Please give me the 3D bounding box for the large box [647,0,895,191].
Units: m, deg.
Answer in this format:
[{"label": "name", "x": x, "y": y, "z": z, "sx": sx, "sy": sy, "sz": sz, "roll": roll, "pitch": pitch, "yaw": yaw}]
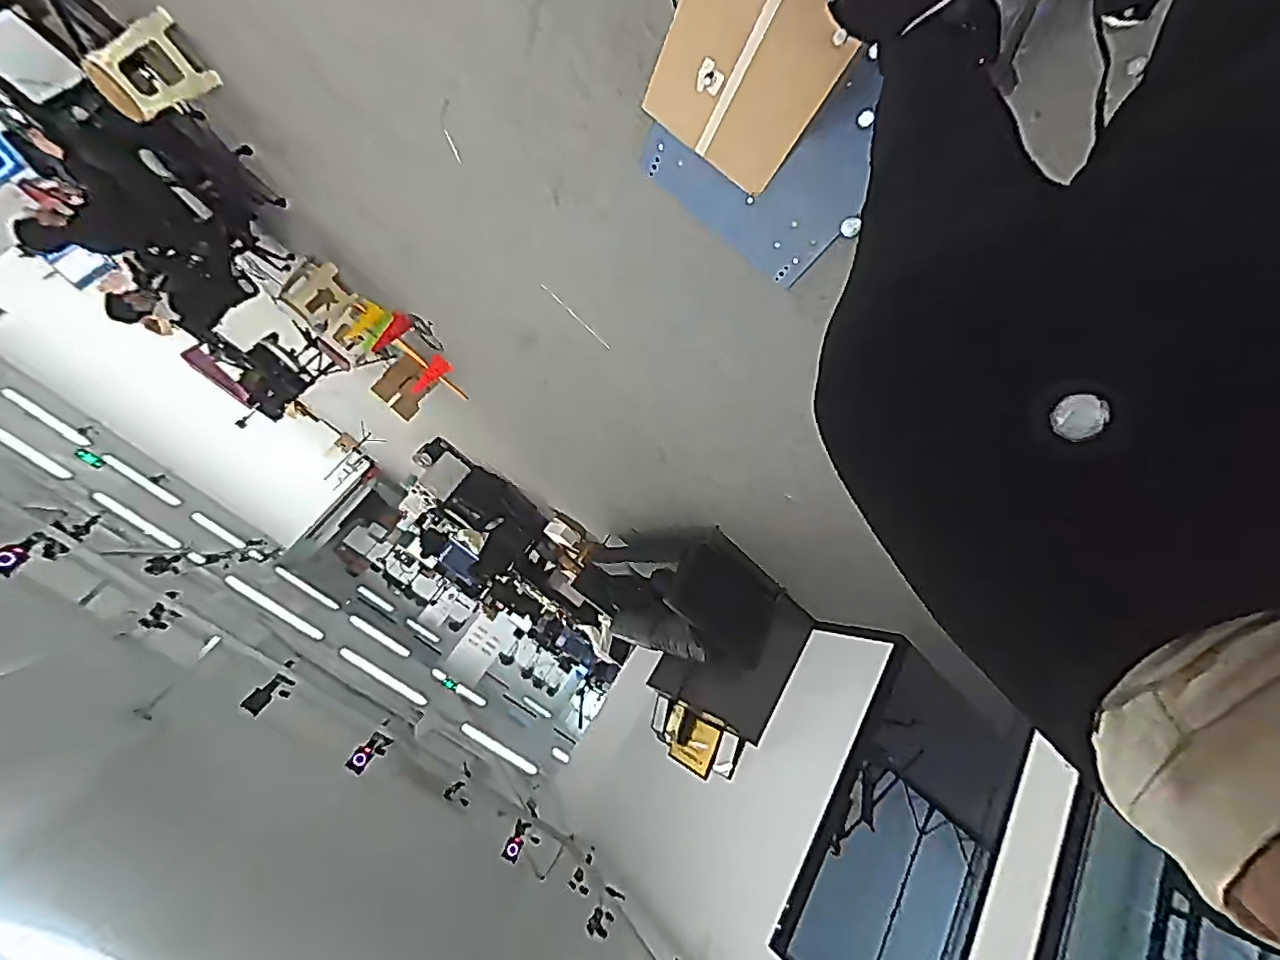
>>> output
[{"label": "large box", "x": 0.272, "y": -0.872, "z": 1.022, "sx": 0.320, "sy": 0.320, "sz": 0.408, "roll": 37, "pitch": 153, "yaw": -5}]
